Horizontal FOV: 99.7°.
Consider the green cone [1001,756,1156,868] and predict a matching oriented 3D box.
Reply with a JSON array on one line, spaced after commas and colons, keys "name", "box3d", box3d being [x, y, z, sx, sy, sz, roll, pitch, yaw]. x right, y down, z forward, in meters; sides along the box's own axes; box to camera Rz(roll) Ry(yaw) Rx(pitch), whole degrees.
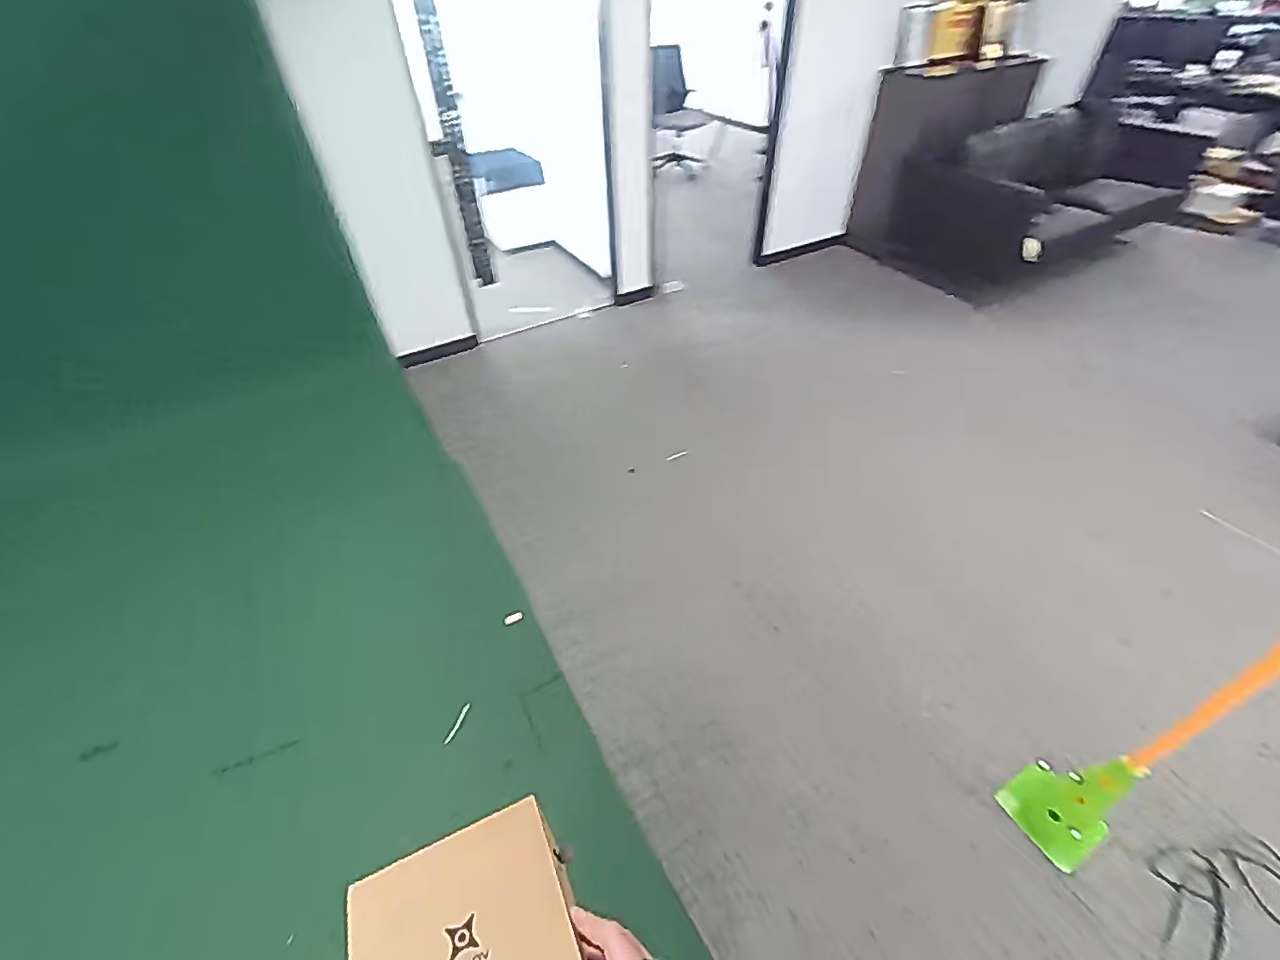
[{"name": "green cone", "box3d": [1.077, 0.734, 1.282, 0.200, 0.368, 0.202, -22, 49, -20]}]
